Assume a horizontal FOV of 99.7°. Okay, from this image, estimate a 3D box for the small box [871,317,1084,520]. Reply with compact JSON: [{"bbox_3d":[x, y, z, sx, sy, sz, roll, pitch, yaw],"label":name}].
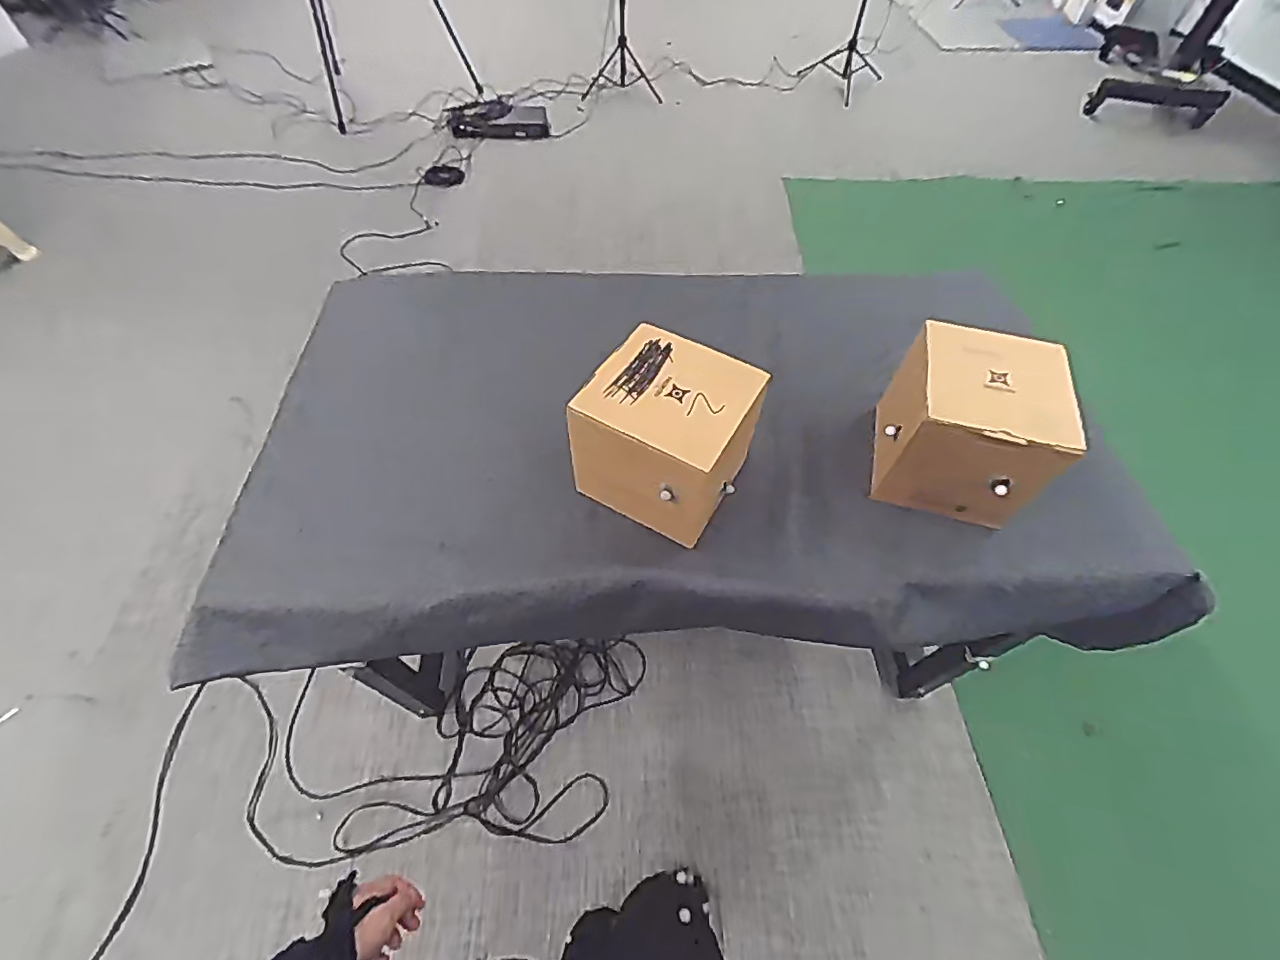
[{"bbox_3d":[0.408,-0.073,0.688,0.168,0.176,0.179,14,55,8],"label":"small box"}]
